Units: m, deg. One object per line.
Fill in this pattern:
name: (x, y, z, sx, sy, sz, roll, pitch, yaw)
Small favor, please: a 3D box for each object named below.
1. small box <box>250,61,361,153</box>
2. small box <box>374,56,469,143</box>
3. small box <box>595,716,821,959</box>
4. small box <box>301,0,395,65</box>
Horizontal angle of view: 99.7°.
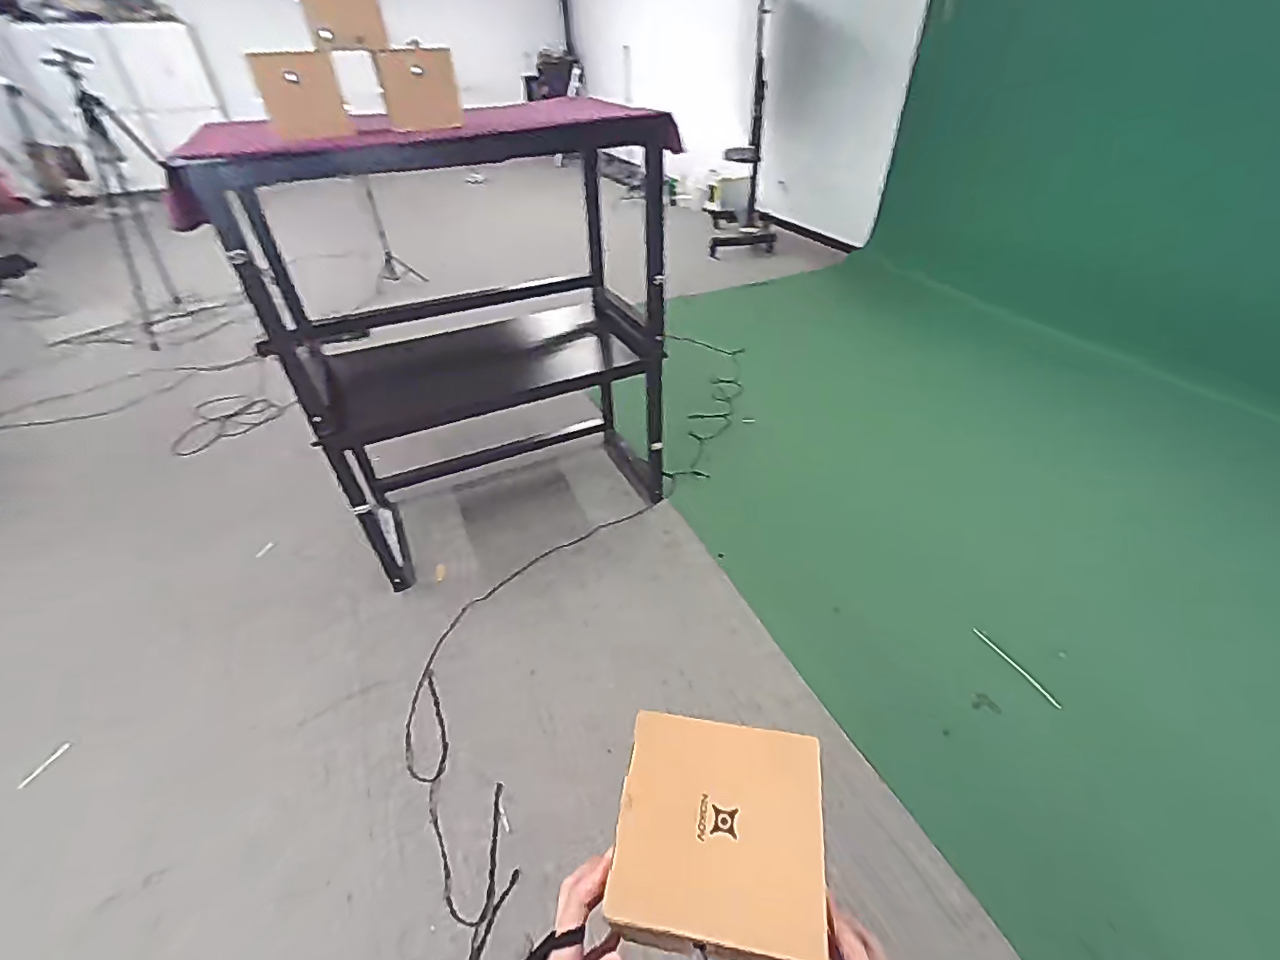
small box: (-0.805, -0.905, 1.311, 0.179, 0.176, 0.168, -19, 43, -20)
small box: (-0.559, -0.978, 1.390, 0.179, 0.176, 0.168, -18, 42, -18)
small box: (0.071, 0.353, 0.525, 0.179, 0.176, 0.168, 2, 46, 12)
small box: (-0.683, -1.076, 1.256, 0.168, 0.176, 0.179, -16, 41, -18)
